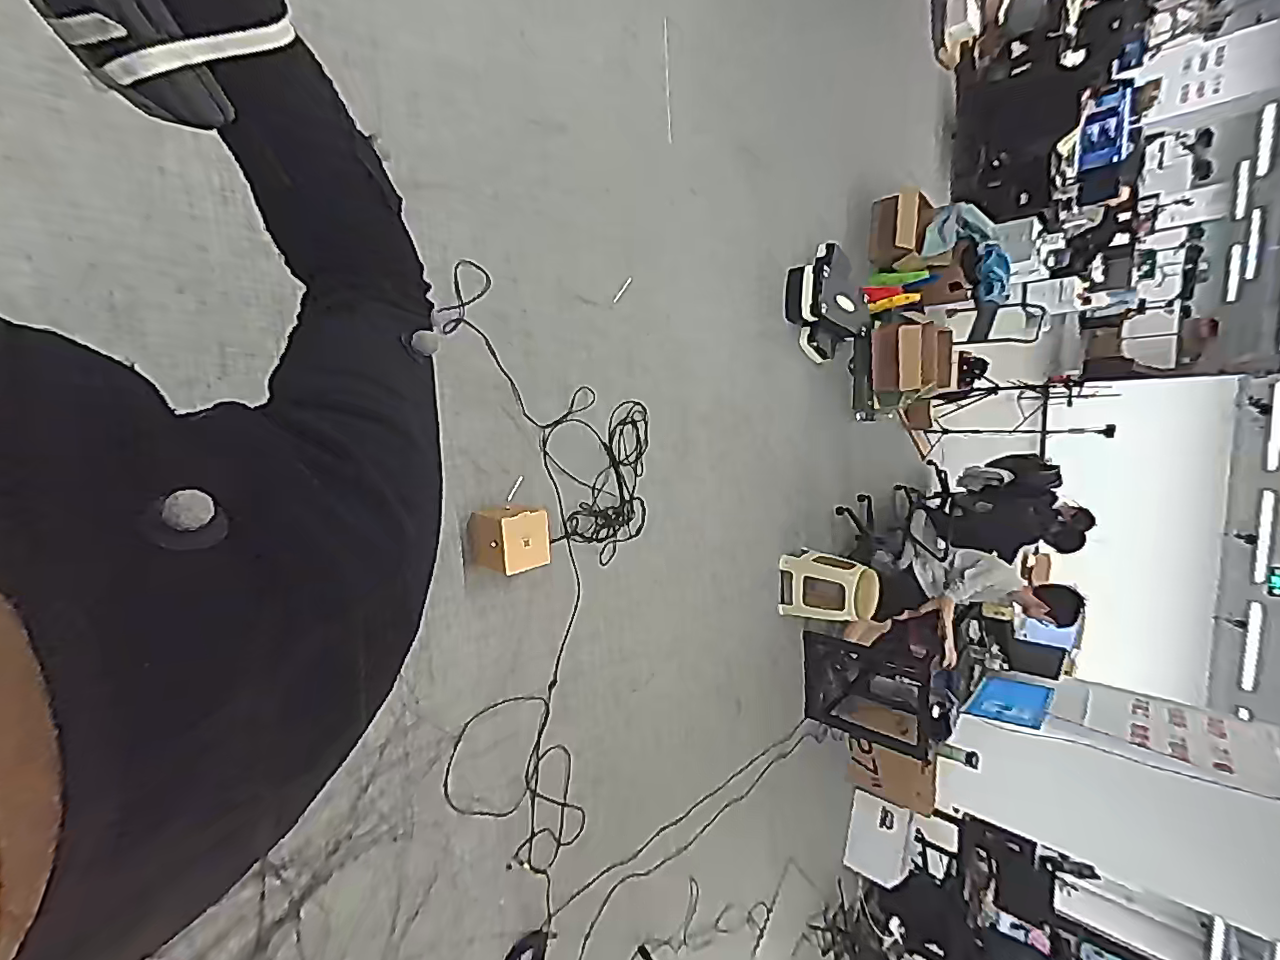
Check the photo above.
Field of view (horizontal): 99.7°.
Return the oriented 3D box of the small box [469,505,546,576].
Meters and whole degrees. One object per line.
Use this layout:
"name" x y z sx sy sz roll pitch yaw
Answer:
"small box" -0.415 0.183 1.683 0.168 0.176 0.179 -12 101 -47
